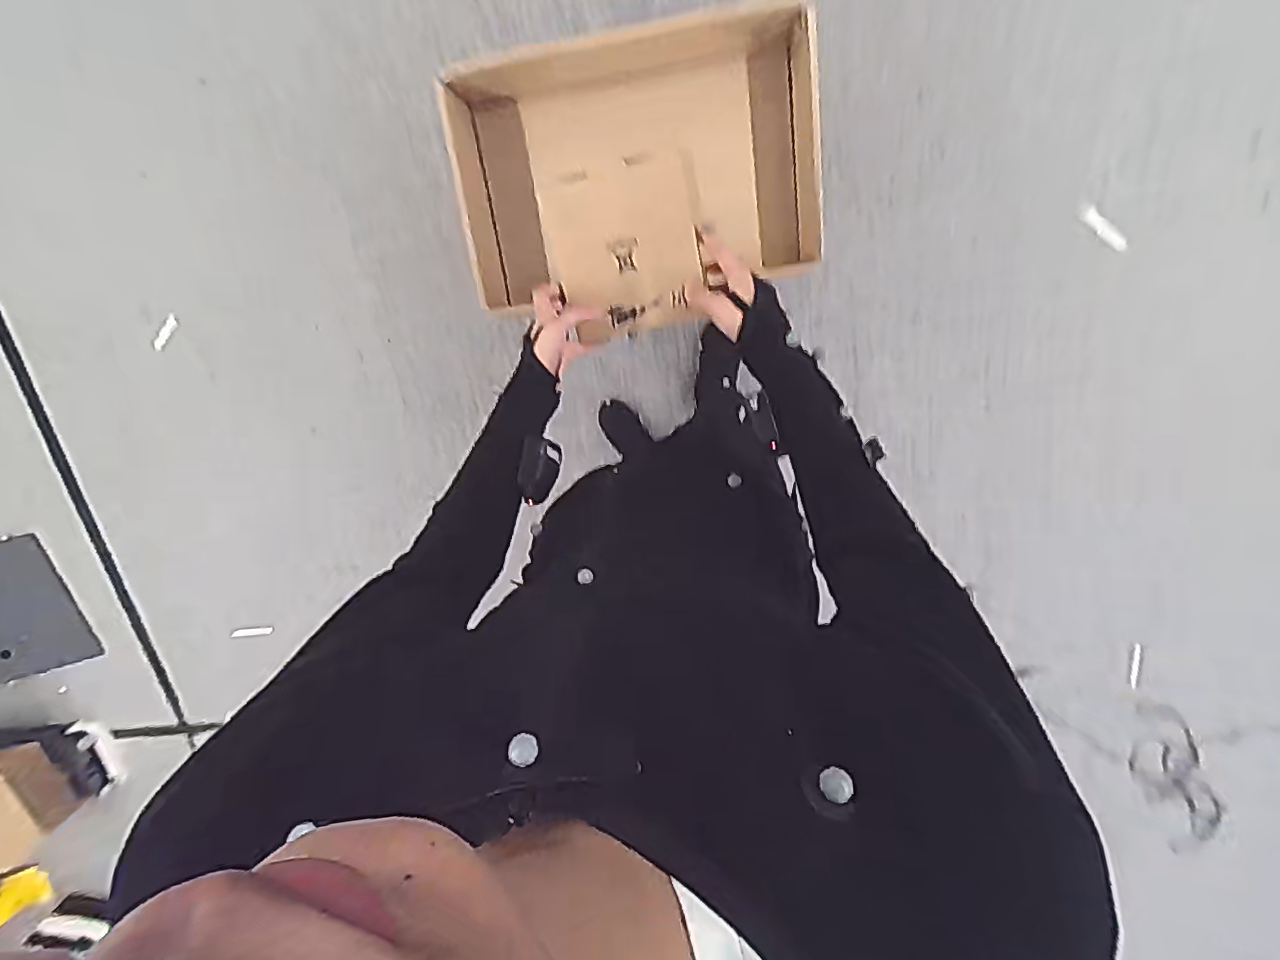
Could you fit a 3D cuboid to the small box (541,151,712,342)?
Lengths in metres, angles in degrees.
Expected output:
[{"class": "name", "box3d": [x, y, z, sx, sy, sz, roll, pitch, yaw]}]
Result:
[{"class": "small box", "box3d": [-0.003, -0.288, 0.680, 0.168, 0.176, 0.179, -7, 114, 14]}]
